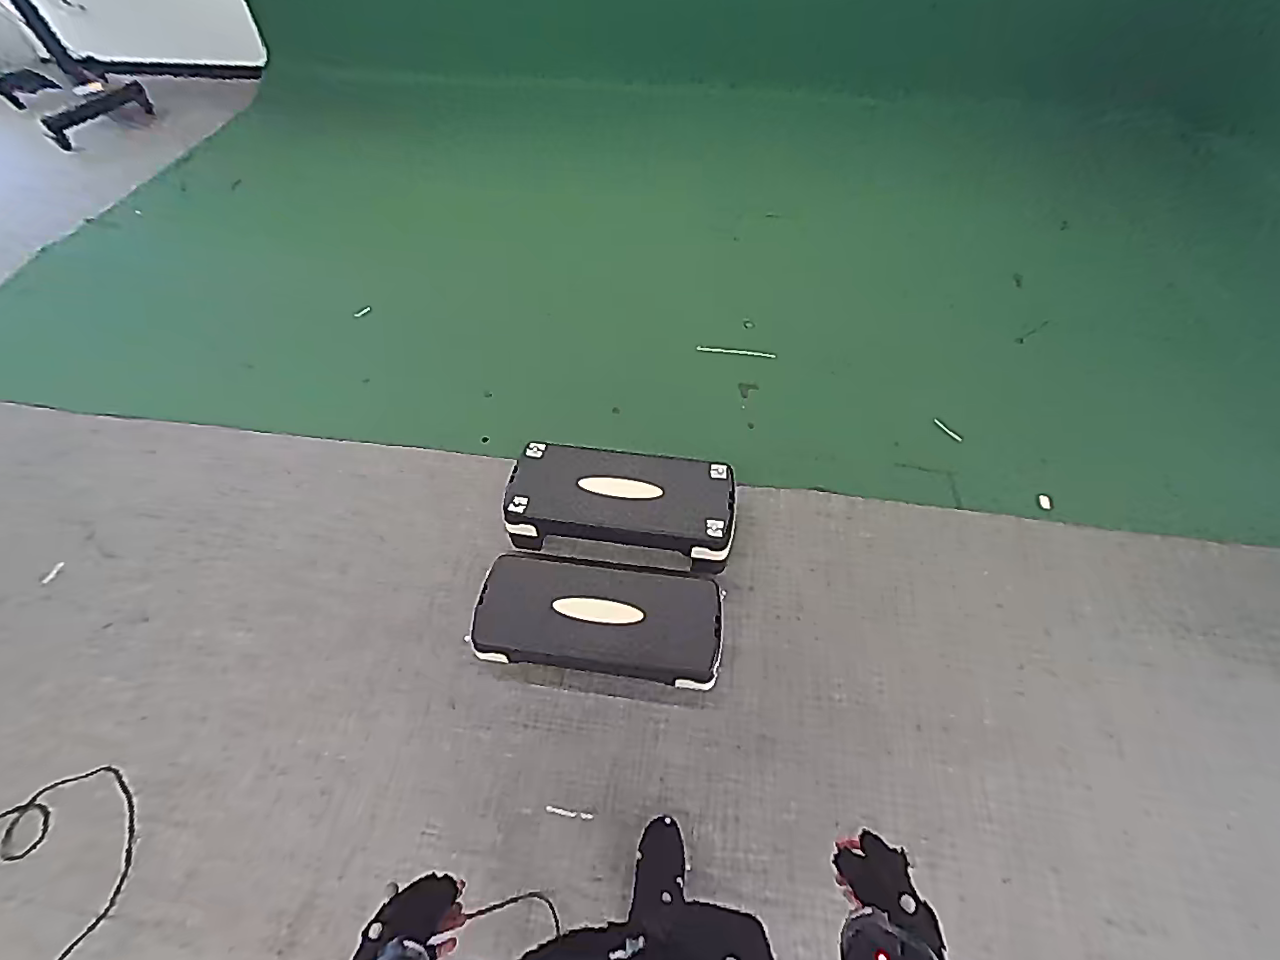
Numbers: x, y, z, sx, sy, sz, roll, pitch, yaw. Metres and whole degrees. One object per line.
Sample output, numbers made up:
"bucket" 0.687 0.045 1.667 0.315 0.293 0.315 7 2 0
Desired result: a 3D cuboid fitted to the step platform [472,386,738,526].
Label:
"step platform" -0.086 -0.065 1.486 0.684 0.204 0.286 6 55 6
